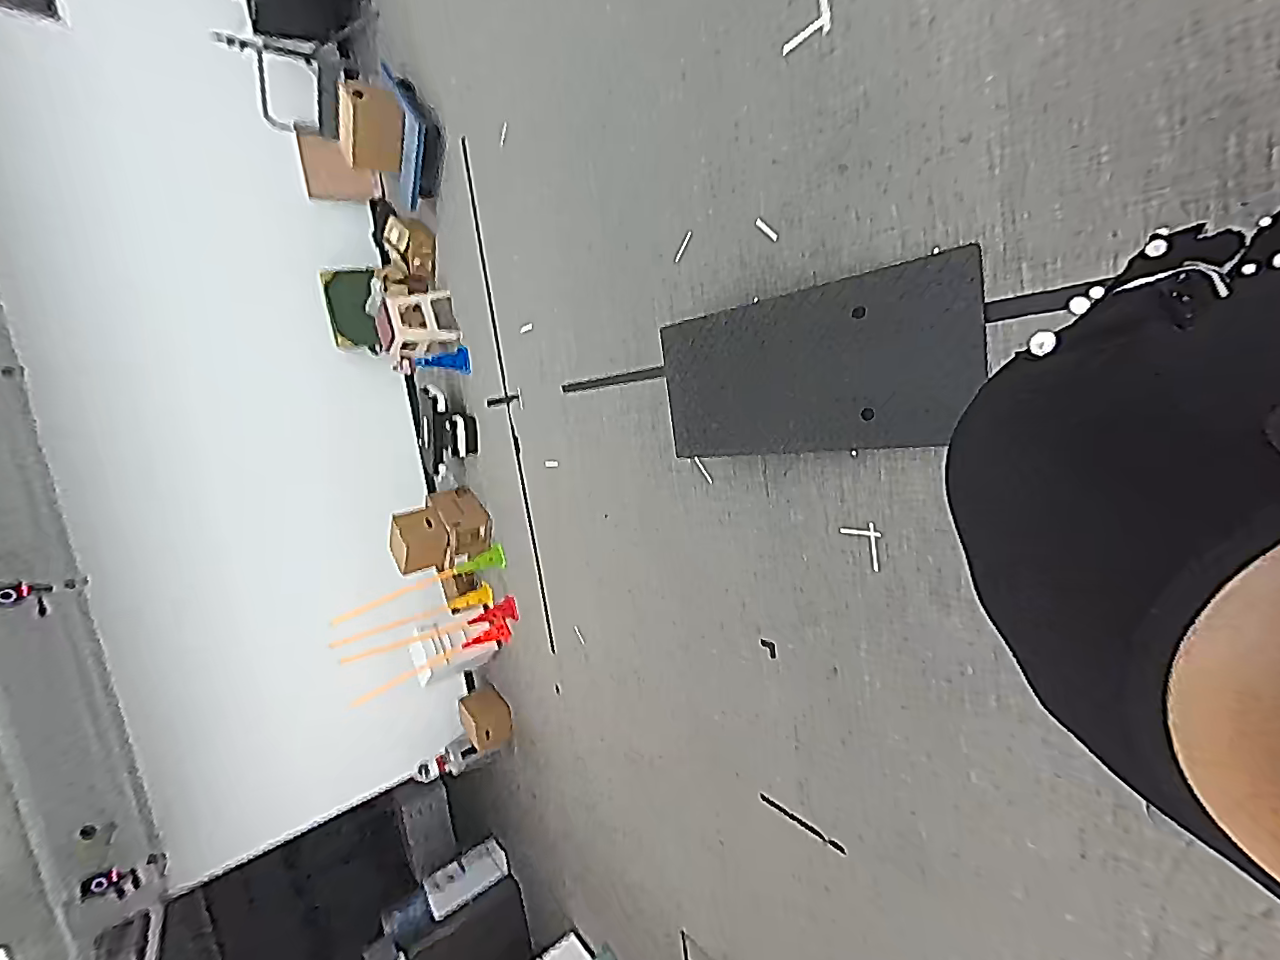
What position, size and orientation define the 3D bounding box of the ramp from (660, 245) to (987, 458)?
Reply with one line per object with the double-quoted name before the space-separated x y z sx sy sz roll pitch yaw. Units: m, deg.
"ramp" 0.477 -0.331 1.668 0.991 0.206 0.509 -1 100 52
